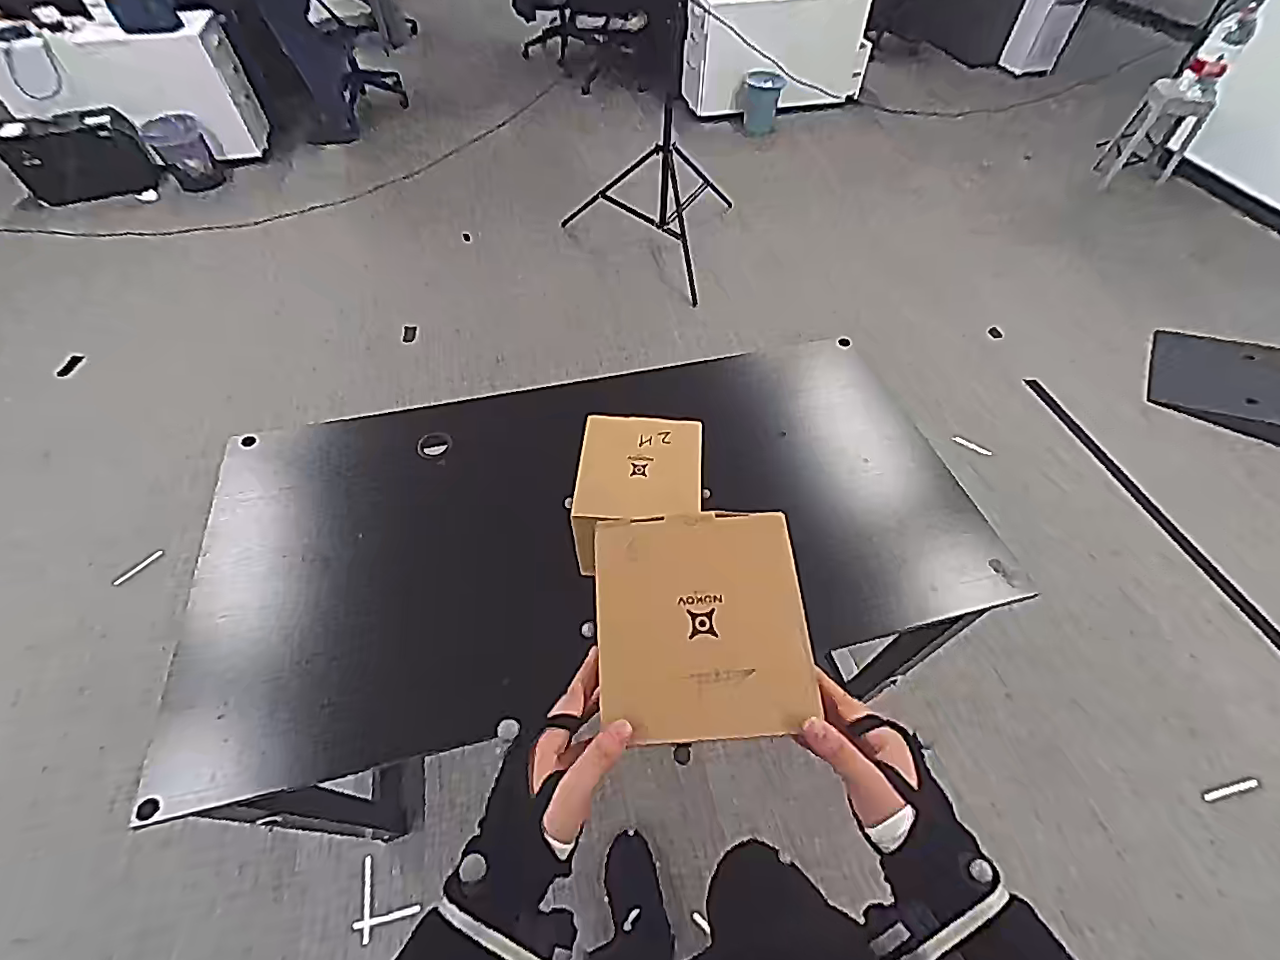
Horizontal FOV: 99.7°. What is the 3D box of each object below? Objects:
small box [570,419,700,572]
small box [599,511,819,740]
[{"bbox_3d":[-0.001,0.033,0.798,0.168,0.176,0.179,4,53,2],"label":"small box"},{"bbox_3d":[0.046,0.142,0.507,0.168,0.176,0.179,-3,64,-3],"label":"small box"}]
